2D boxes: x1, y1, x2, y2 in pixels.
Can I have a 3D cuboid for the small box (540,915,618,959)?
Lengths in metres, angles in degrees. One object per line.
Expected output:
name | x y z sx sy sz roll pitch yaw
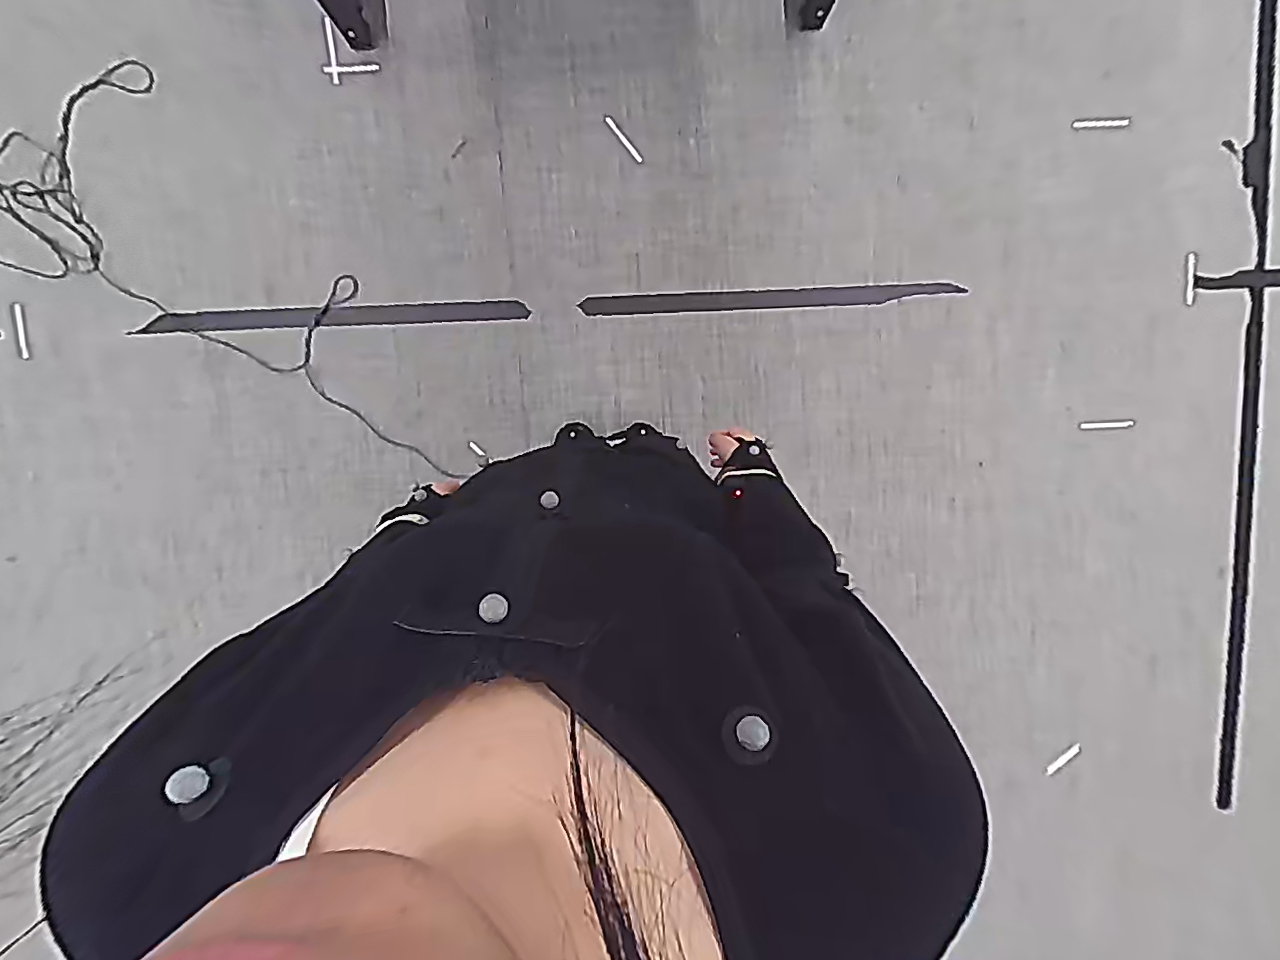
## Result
small box | -0.137 1.140 1.234 0.179 0.176 0.168 -5 94 -1
